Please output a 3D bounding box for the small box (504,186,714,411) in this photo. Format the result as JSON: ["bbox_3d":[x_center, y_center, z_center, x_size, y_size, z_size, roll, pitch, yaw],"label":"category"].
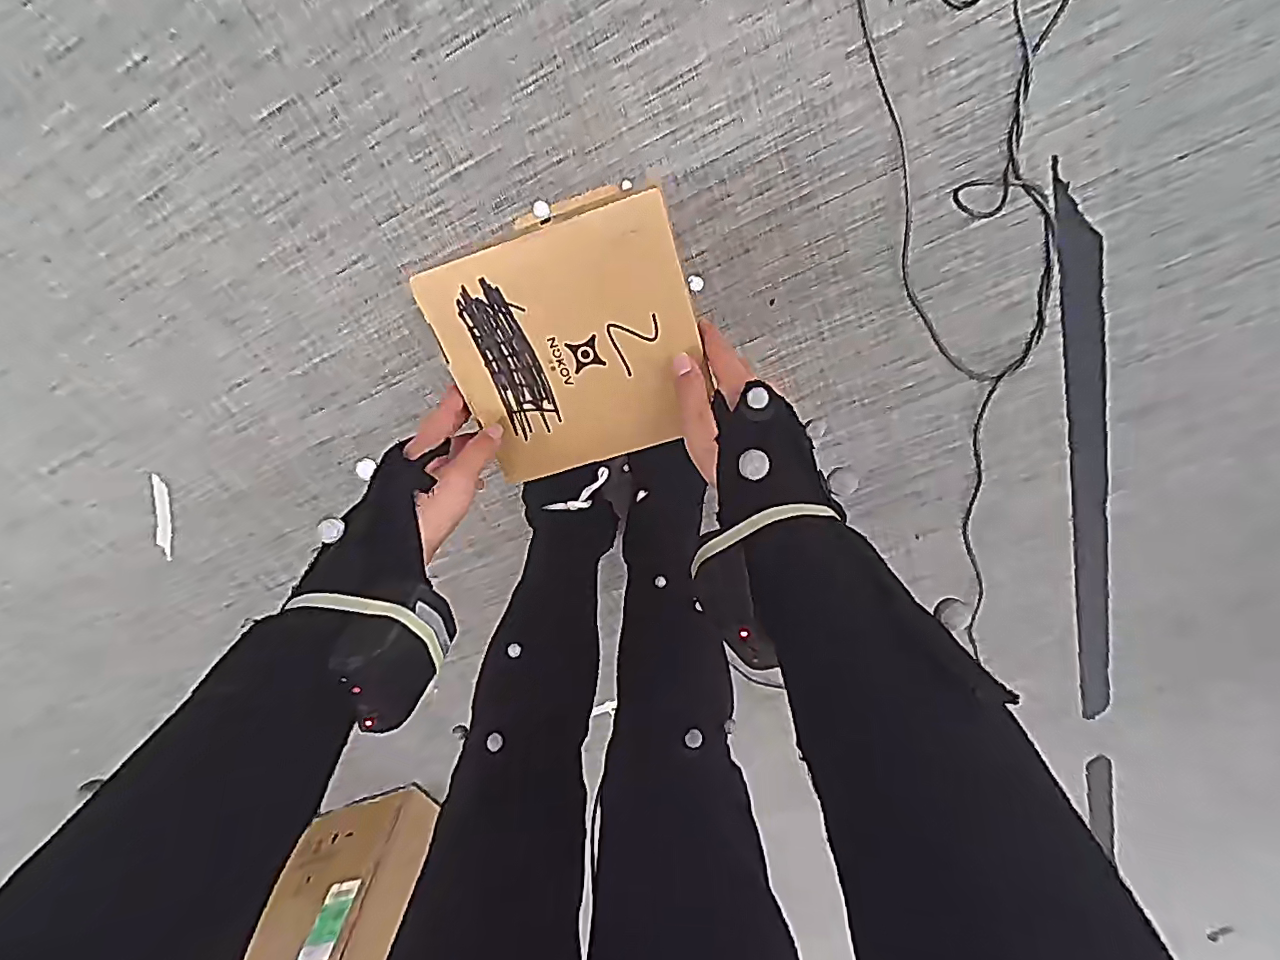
[{"bbox_3d":[-0.025,-0.204,0.593,0.168,0.176,0.179,-15,119,10],"label":"small box"}]
